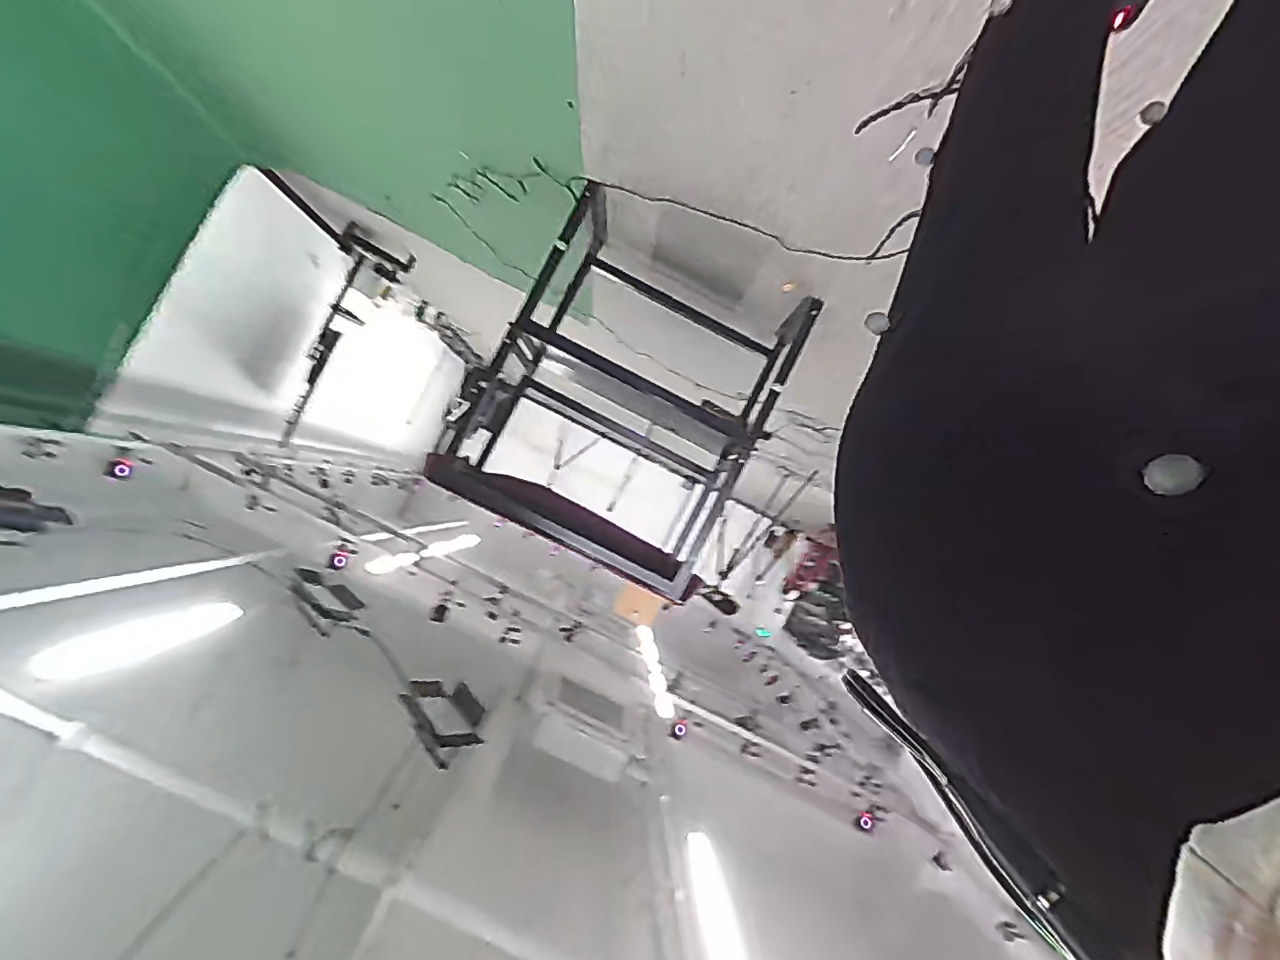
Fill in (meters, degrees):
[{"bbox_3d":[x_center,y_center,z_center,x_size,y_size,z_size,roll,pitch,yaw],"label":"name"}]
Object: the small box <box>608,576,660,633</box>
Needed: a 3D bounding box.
[{"bbox_3d":[-0.026,0.547,2.389,0.179,0.176,0.168,28,176,-1],"label":"small box"}]
